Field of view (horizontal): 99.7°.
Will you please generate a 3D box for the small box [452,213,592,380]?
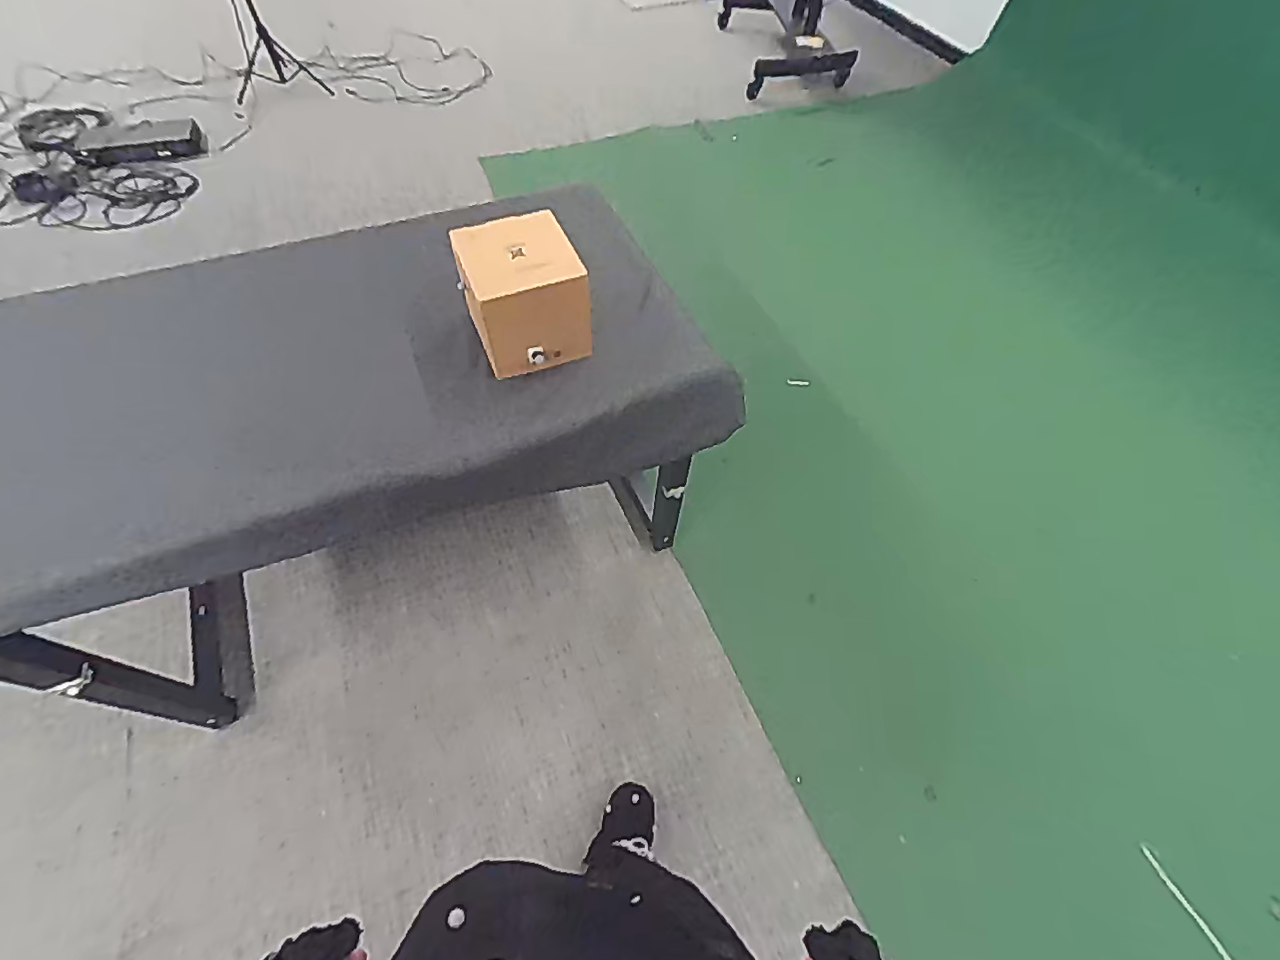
[{"bbox_3d":[-0.185,-0.295,0.879,0.168,0.176,0.179,-21,62,-14],"label":"small box"}]
